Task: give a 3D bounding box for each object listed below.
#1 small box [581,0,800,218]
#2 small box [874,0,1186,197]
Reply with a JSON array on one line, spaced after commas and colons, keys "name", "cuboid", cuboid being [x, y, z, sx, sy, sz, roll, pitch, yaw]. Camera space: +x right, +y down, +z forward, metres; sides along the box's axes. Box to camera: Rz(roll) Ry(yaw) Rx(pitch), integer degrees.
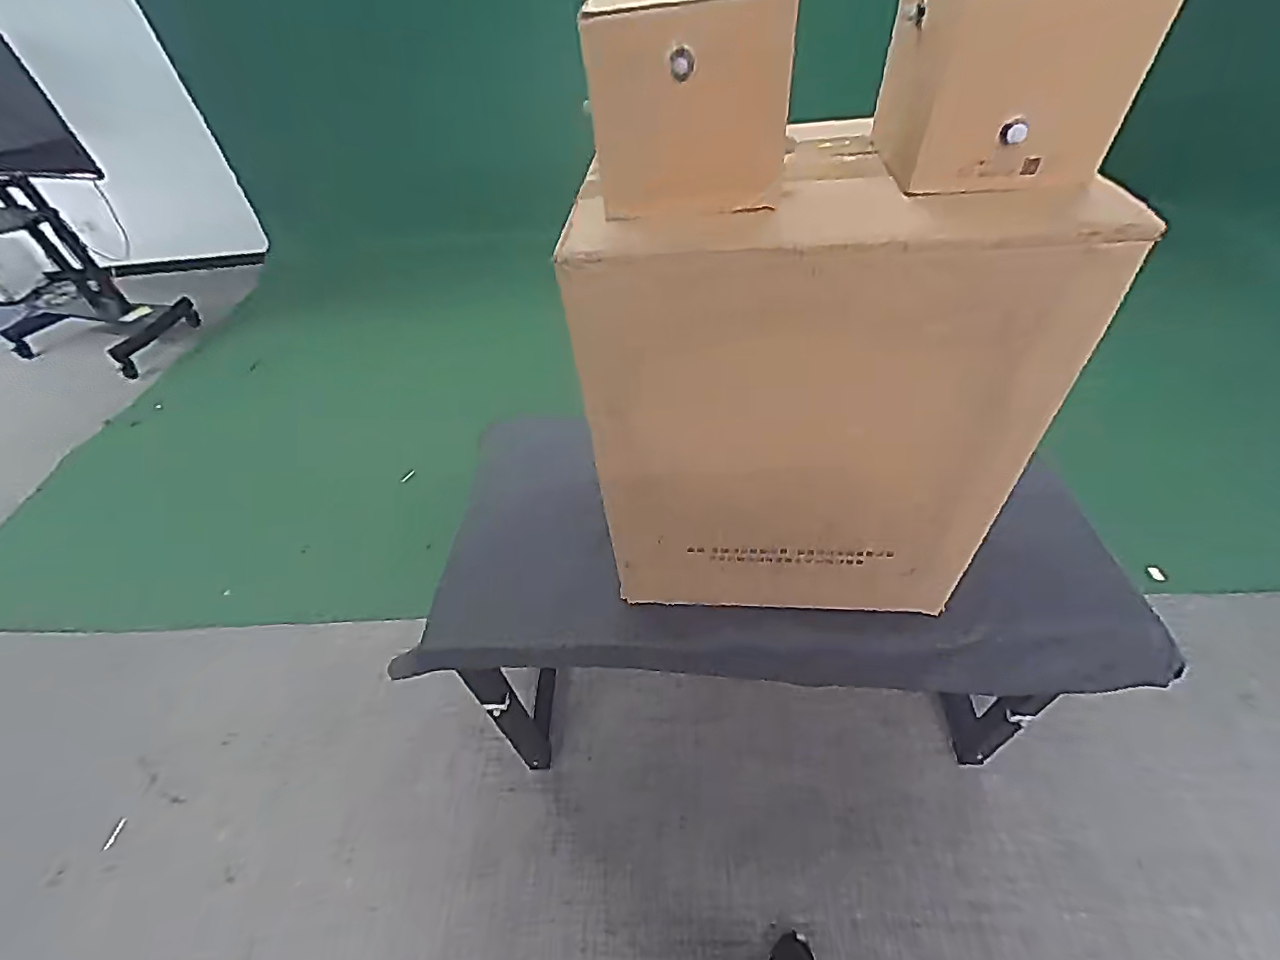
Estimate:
[{"name": "small box", "cuboid": [0.051, -0.375, 0.534, 0.179, 0.176, 0.168, 1, 50, 6]}, {"name": "small box", "cuboid": [0.338, -0.388, 0.510, 0.168, 0.176, 0.179, 1, 49, 5]}]
